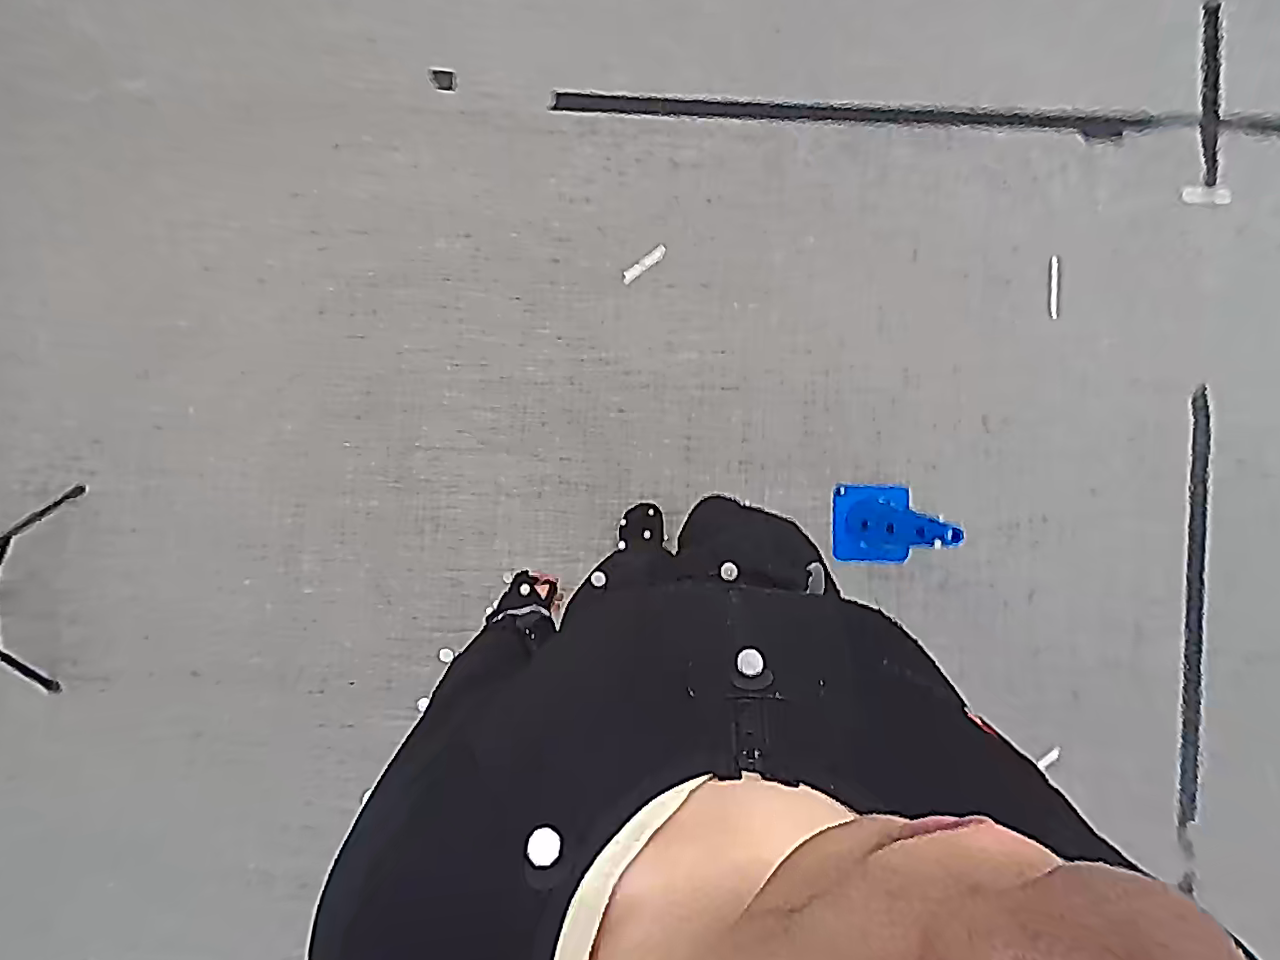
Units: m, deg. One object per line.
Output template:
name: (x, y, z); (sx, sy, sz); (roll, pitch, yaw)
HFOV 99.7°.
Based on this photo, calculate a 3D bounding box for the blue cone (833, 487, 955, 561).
blue cone: (0.595, 0.112, 1.222); (0.192, 0.380, 0.193); (2, 89, -1)
